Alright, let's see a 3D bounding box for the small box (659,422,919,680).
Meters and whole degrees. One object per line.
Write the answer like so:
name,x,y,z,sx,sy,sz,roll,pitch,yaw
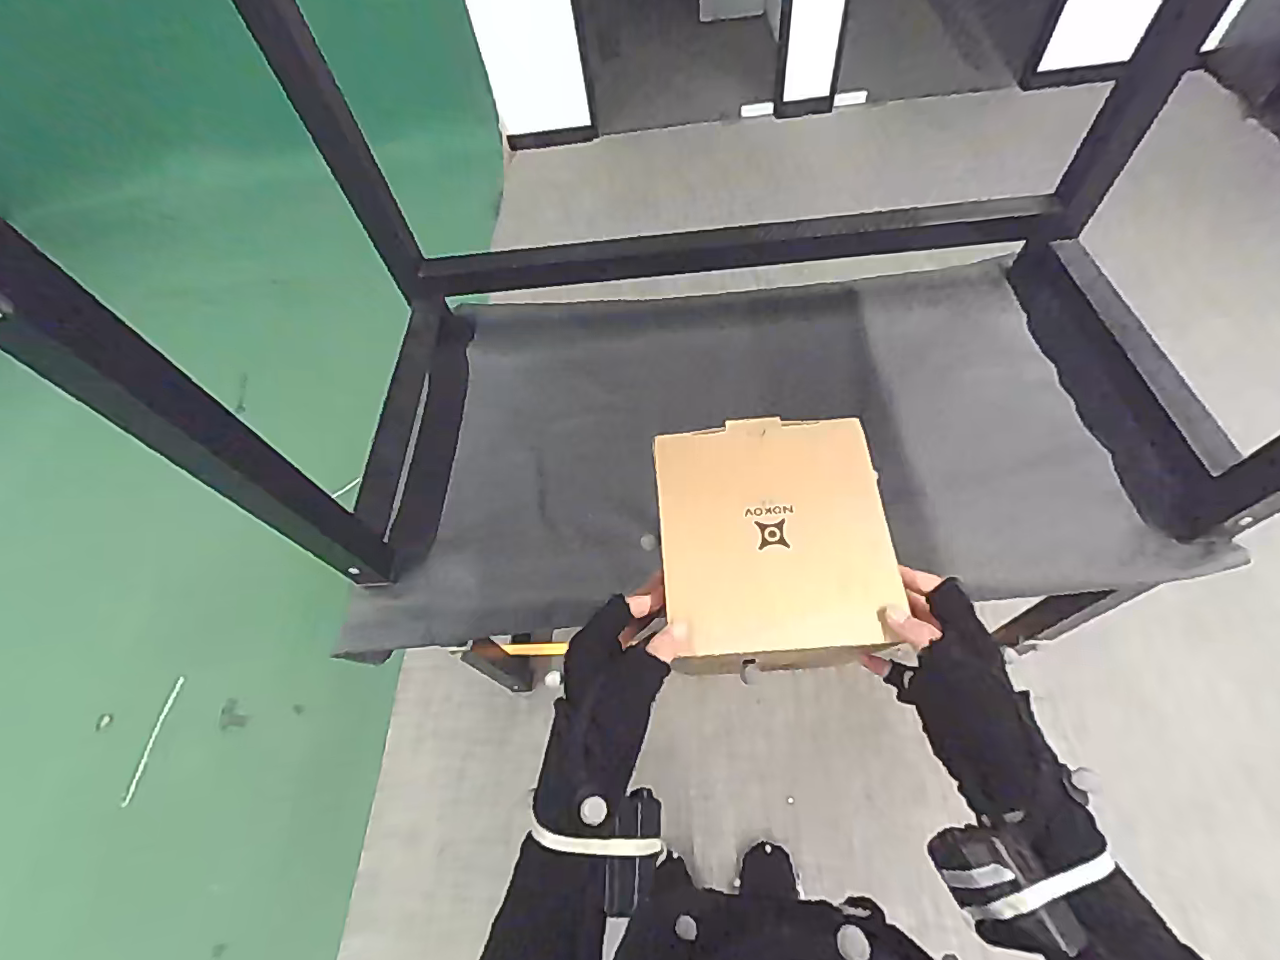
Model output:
small box,0.108,0.073,0.467,0.168,0.176,0.179,-5,63,3
